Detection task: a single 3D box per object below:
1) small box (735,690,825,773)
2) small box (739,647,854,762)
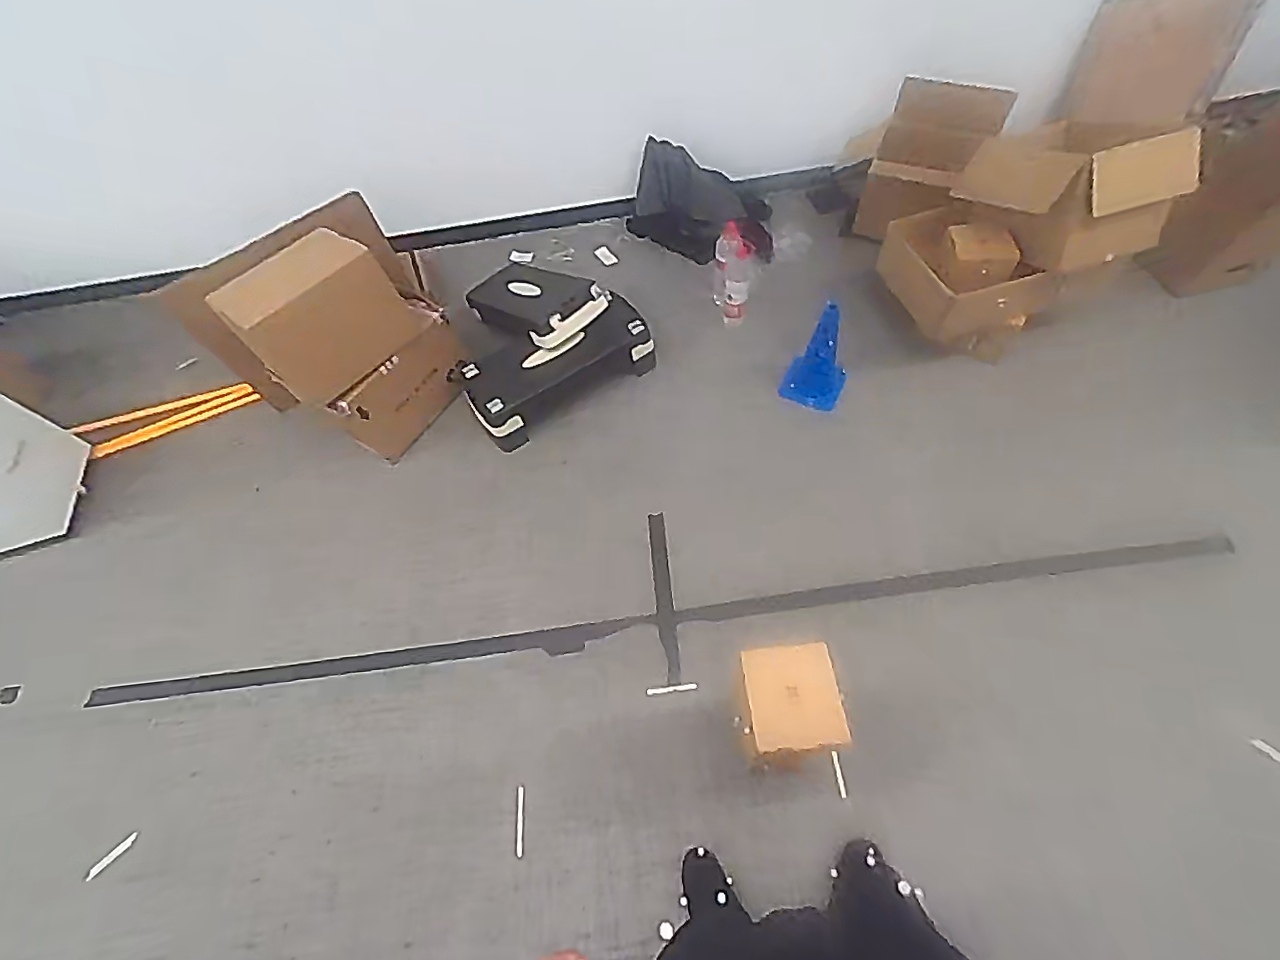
[{"bbox_3d":[0.332,0.607,1.327,0.168,0.176,0.179,-11,60,1],"label":"small box"},{"bbox_3d":[0.291,0.439,1.048,0.168,0.176,0.179,-7,60,2],"label":"small box"}]
